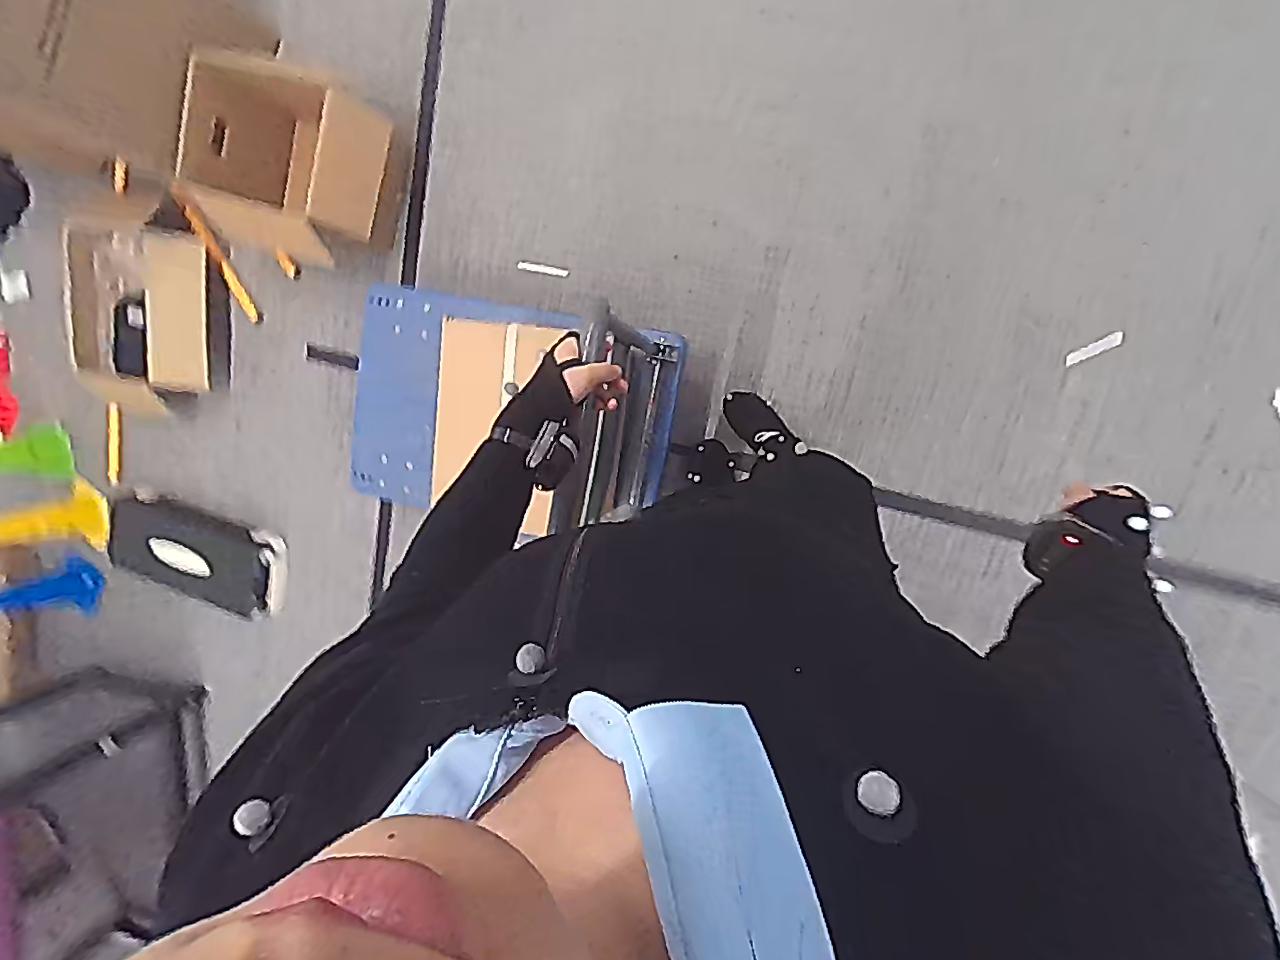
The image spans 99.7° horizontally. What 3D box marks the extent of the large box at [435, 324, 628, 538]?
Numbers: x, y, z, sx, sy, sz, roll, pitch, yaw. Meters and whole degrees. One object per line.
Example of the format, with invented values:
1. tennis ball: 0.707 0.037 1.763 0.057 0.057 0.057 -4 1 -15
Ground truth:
1. large box: -0.227 -0.112 1.216 0.320 0.320 0.408 9 98 12
